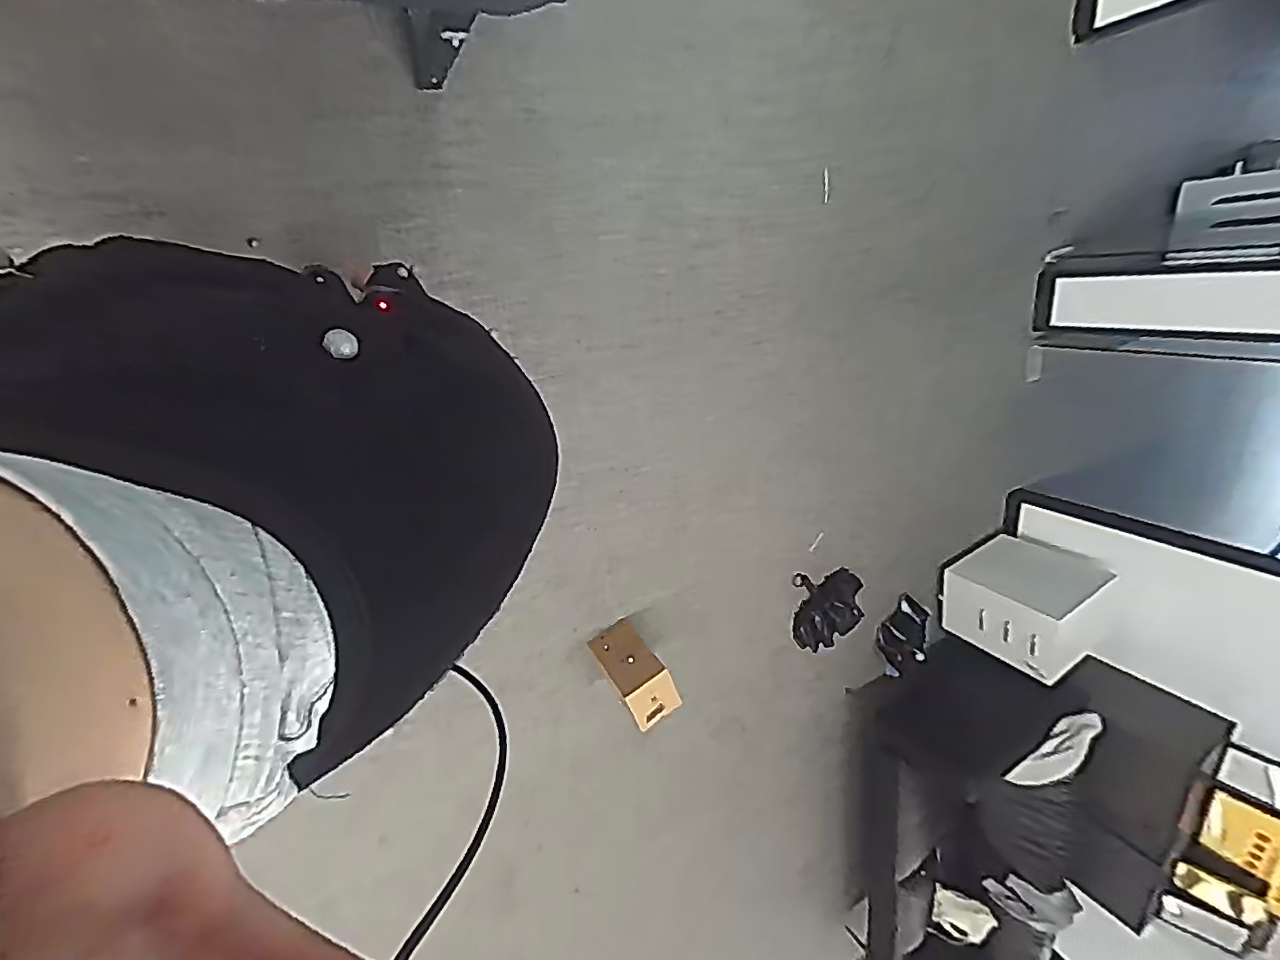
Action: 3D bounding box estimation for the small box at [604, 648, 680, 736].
[{"bbox_3d":[0.005,0.701,1.805,0.168,0.176,0.179,-30,117,-17],"label":"small box"}]

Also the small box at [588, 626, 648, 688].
[{"bbox_3d":[-0.066,0.654,1.946,0.168,0.176,0.179,-30,120,-16],"label":"small box"}]
